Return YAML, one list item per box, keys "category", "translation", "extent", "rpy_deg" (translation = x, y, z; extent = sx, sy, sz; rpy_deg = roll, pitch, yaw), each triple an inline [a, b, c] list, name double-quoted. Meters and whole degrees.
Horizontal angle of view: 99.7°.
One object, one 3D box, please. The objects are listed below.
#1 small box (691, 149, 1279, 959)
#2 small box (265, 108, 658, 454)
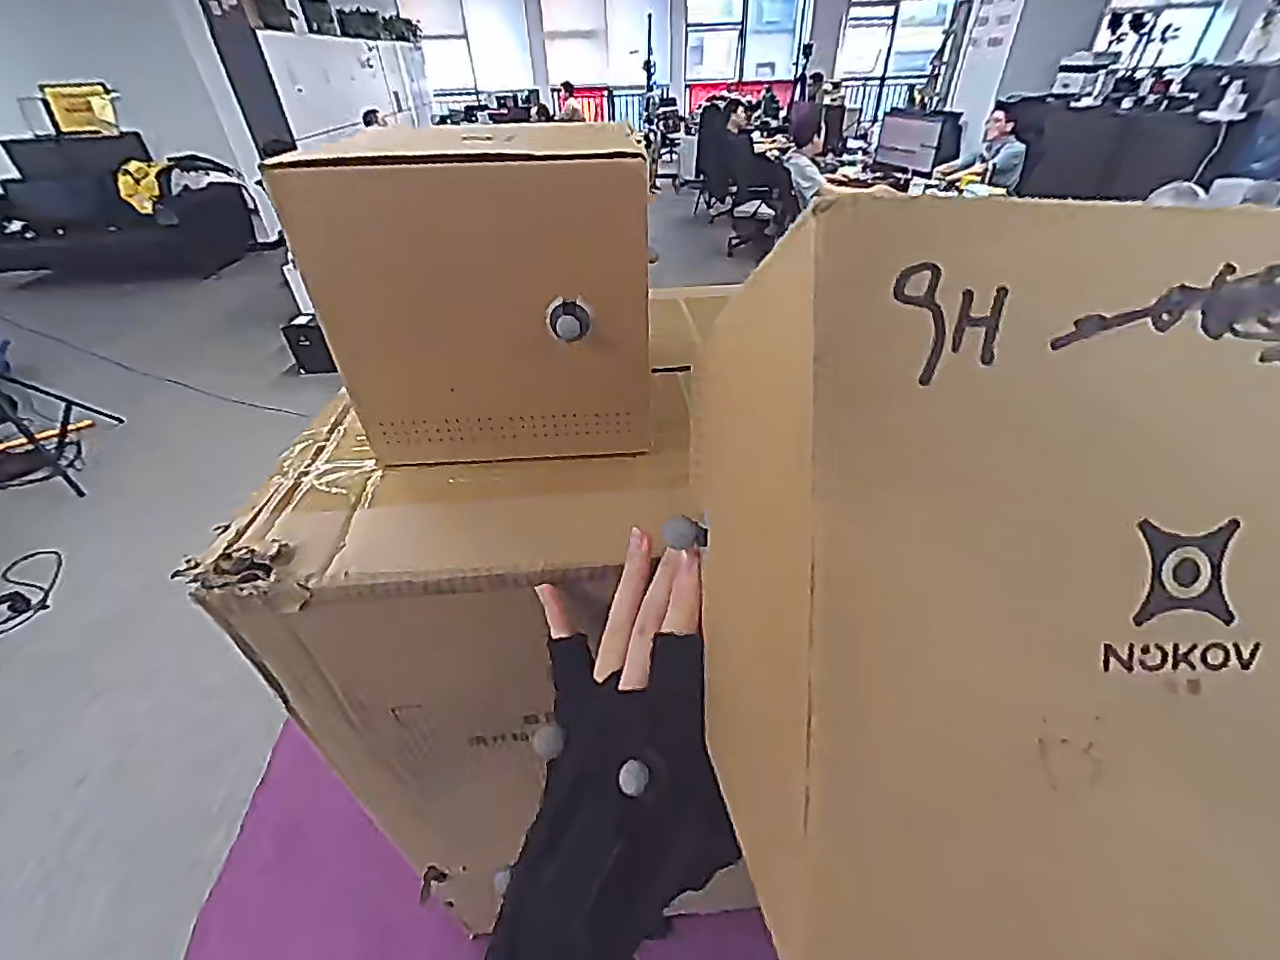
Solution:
- category: "small box"
  translation: [0.113, 0.016, 0.197]
  extent: [0.168, 0.179, 0.176]
  rpy_deg: [1, 3, -3]
- category: "small box"
  translation: [-0.082, -0.132, 0.351]
  extent: [0.179, 0.176, 0.168]
  rpy_deg: [-4, 37, -2]
